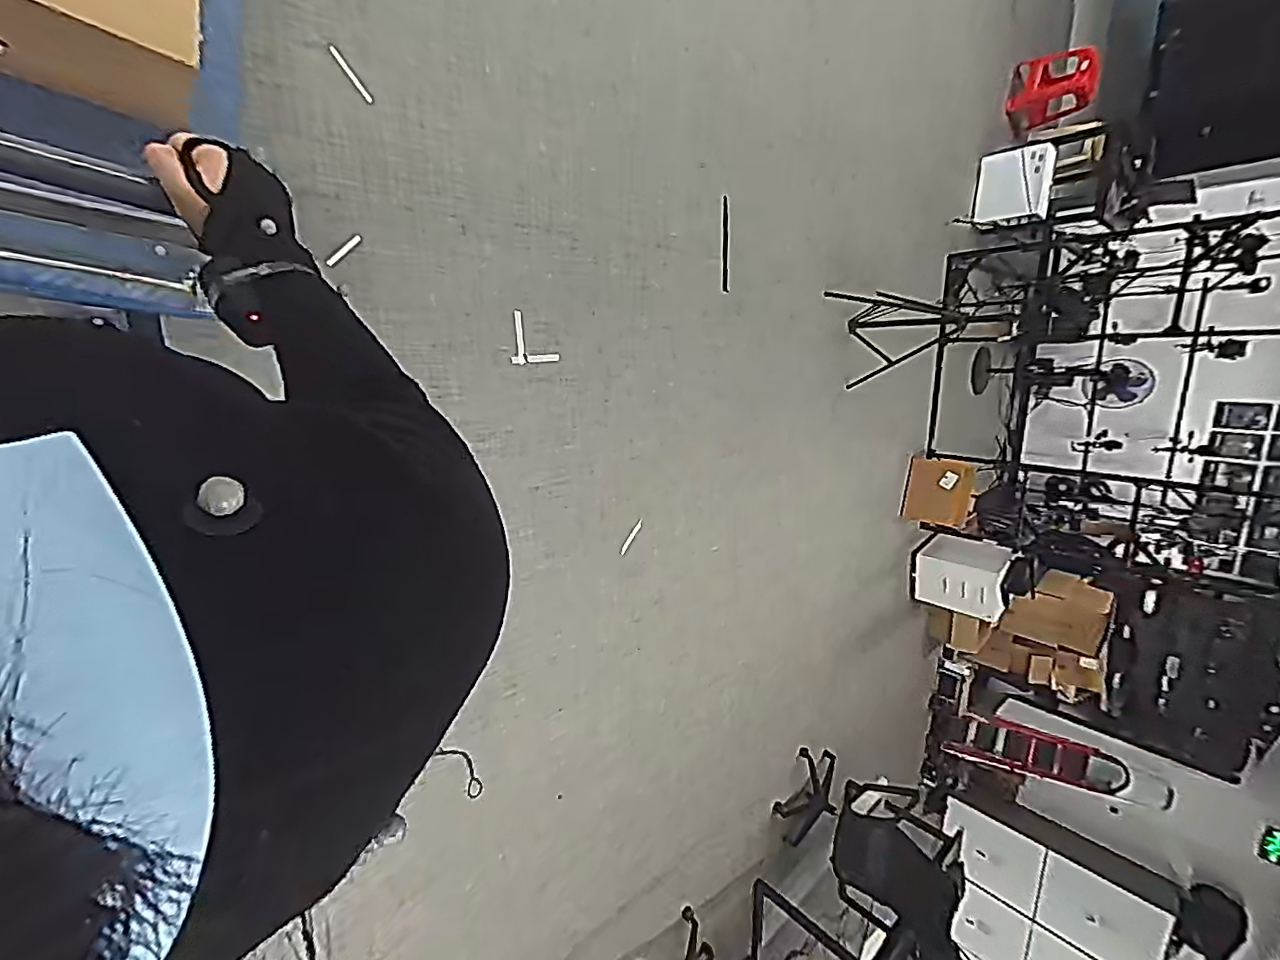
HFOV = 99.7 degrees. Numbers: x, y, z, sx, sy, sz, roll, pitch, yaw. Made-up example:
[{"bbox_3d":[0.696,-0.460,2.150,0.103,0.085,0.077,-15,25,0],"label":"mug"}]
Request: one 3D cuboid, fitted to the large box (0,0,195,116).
[{"bbox_3d":[-0.849,-0.762,0.704,0.408,0.320,0.320,0,99,-43],"label":"large box"}]
